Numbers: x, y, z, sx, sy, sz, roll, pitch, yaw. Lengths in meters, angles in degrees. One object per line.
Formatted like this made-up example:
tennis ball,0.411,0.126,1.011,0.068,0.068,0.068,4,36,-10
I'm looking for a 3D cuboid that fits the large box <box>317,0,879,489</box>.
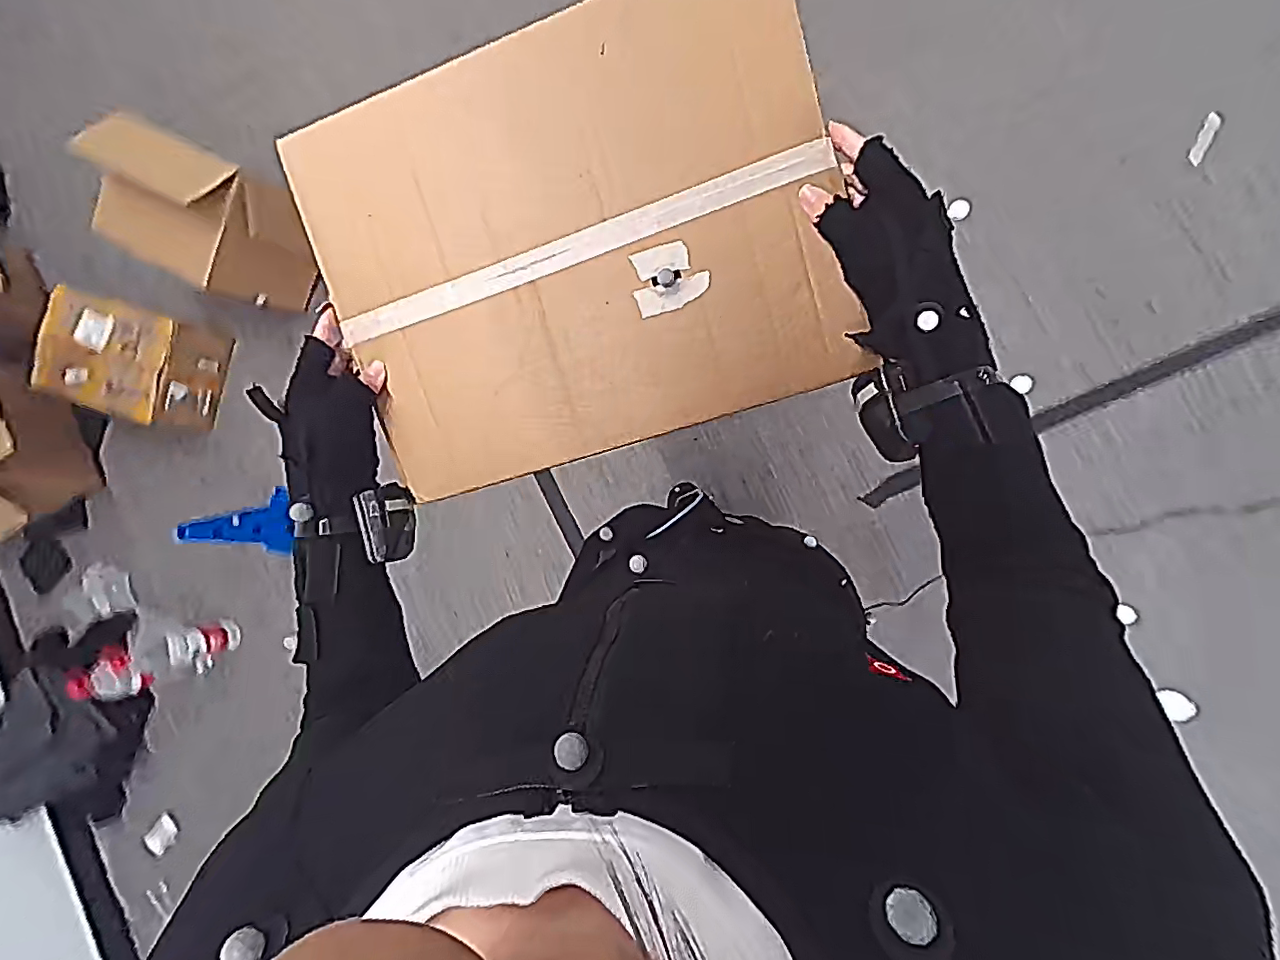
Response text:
large box,-0.024,-0.211,0.579,0.408,0.320,0.320,-15,99,10
